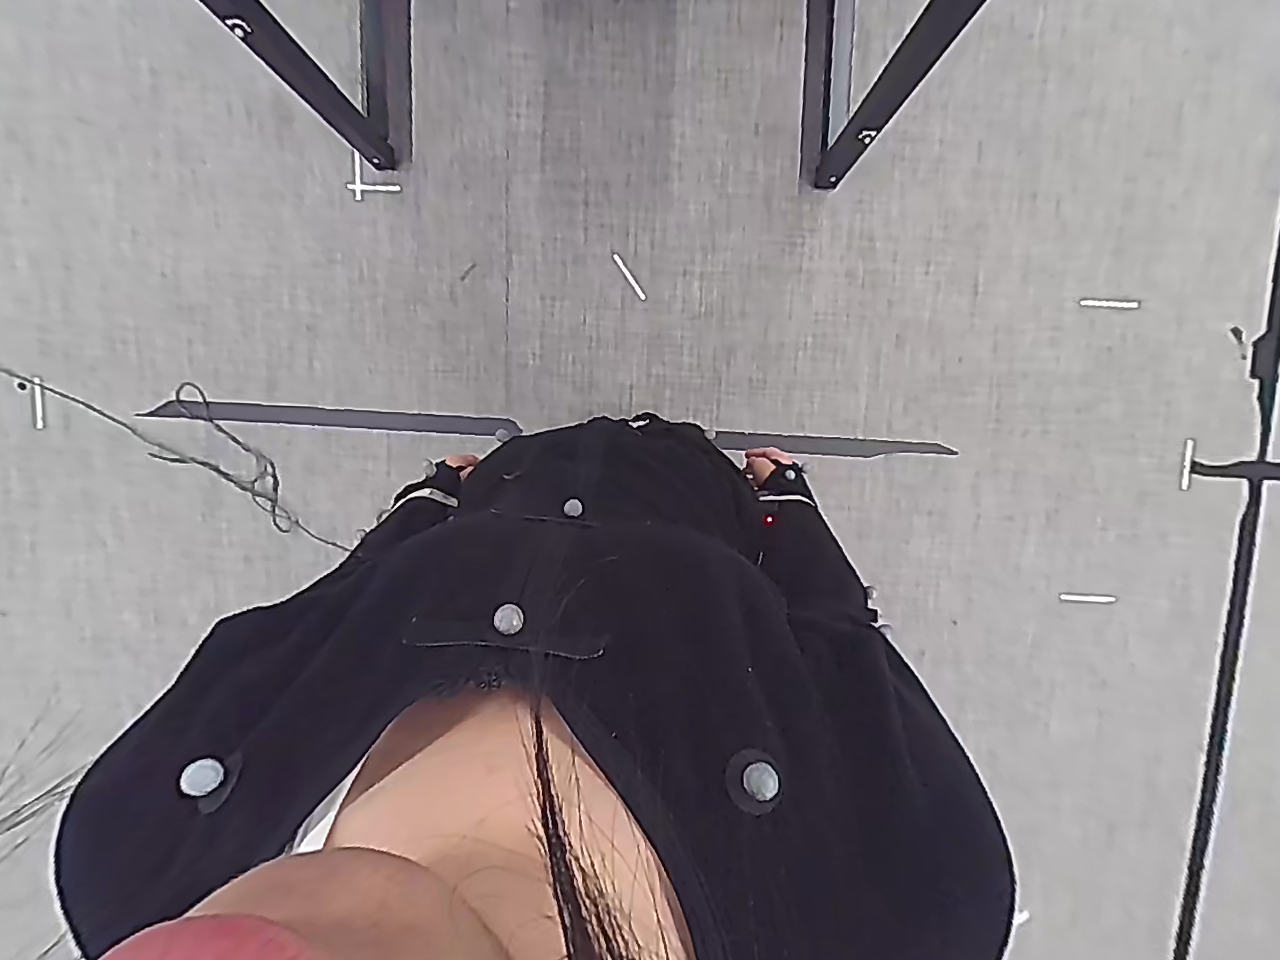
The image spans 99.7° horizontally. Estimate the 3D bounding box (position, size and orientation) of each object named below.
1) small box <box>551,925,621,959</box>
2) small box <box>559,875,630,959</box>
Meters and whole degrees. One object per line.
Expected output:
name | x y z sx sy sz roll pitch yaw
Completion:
small box | -0.128 1.271 1.347 0.168 0.176 0.179 -11 96 -1
small box | -0.123 1.248 1.510 0.168 0.176 0.179 -11 95 1
